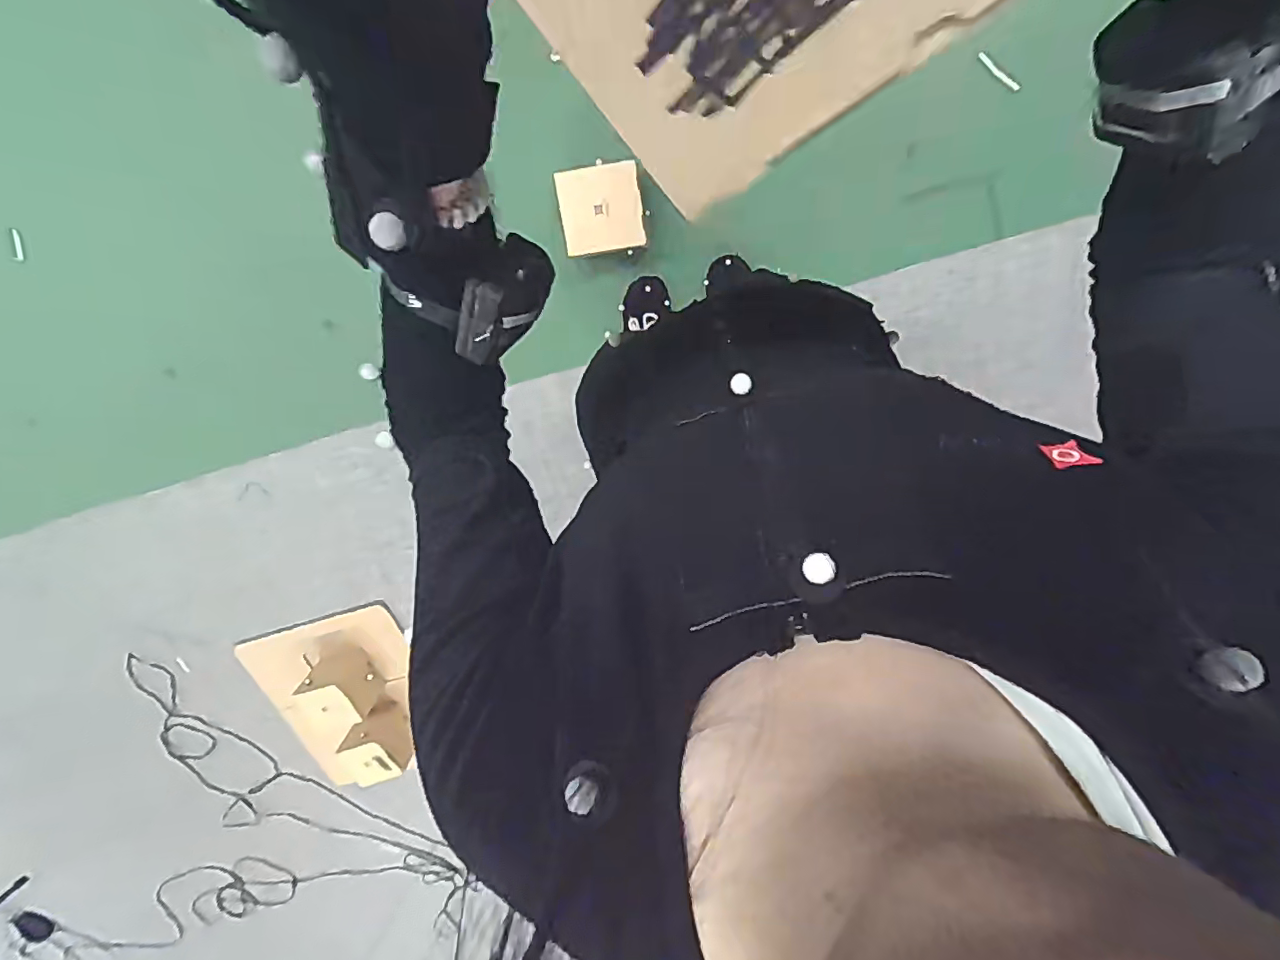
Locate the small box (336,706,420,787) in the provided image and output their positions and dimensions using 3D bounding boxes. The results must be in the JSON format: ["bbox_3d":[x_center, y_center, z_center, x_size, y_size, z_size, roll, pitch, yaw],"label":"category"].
[{"bbox_3d":[-0.889,0.911,1.861,0.179,0.176,0.168,-22,110,12],"label":"small box"}]

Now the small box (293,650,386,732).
[{"bbox_3d":[-0.981,0.691,1.780,0.179,0.176,0.168,-17,111,9],"label":"small box"}]

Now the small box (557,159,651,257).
[{"bbox_3d":[-0.074,-0.606,1.223,0.179,0.176,0.168,-7,111,5],"label":"small box"}]
